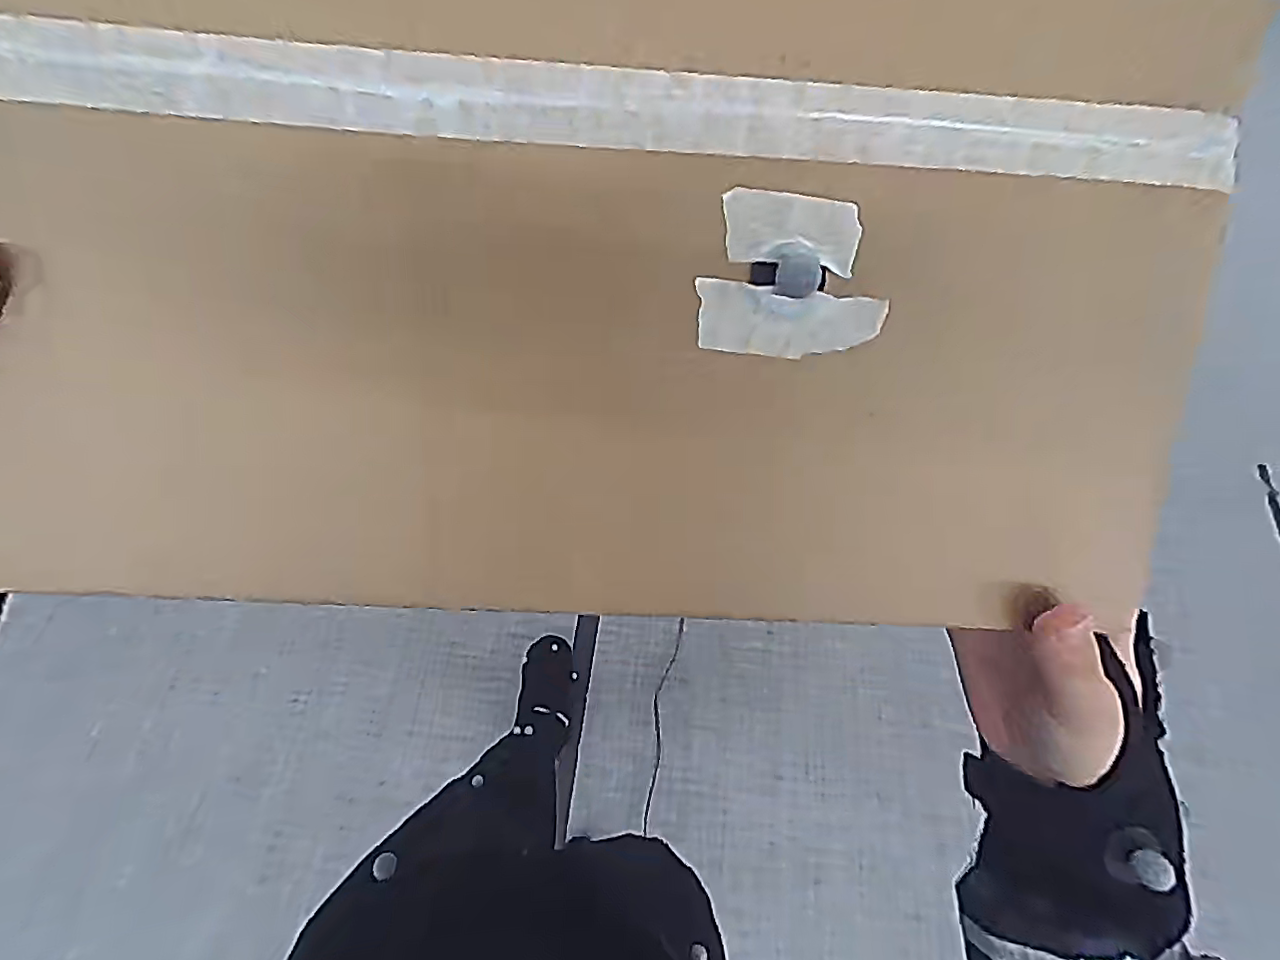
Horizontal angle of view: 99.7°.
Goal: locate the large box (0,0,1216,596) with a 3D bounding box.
[{"bbox_3d":[-0.025,-0.133,0.322,0.408,0.320,0.320,2,99,-3],"label":"large box"}]
